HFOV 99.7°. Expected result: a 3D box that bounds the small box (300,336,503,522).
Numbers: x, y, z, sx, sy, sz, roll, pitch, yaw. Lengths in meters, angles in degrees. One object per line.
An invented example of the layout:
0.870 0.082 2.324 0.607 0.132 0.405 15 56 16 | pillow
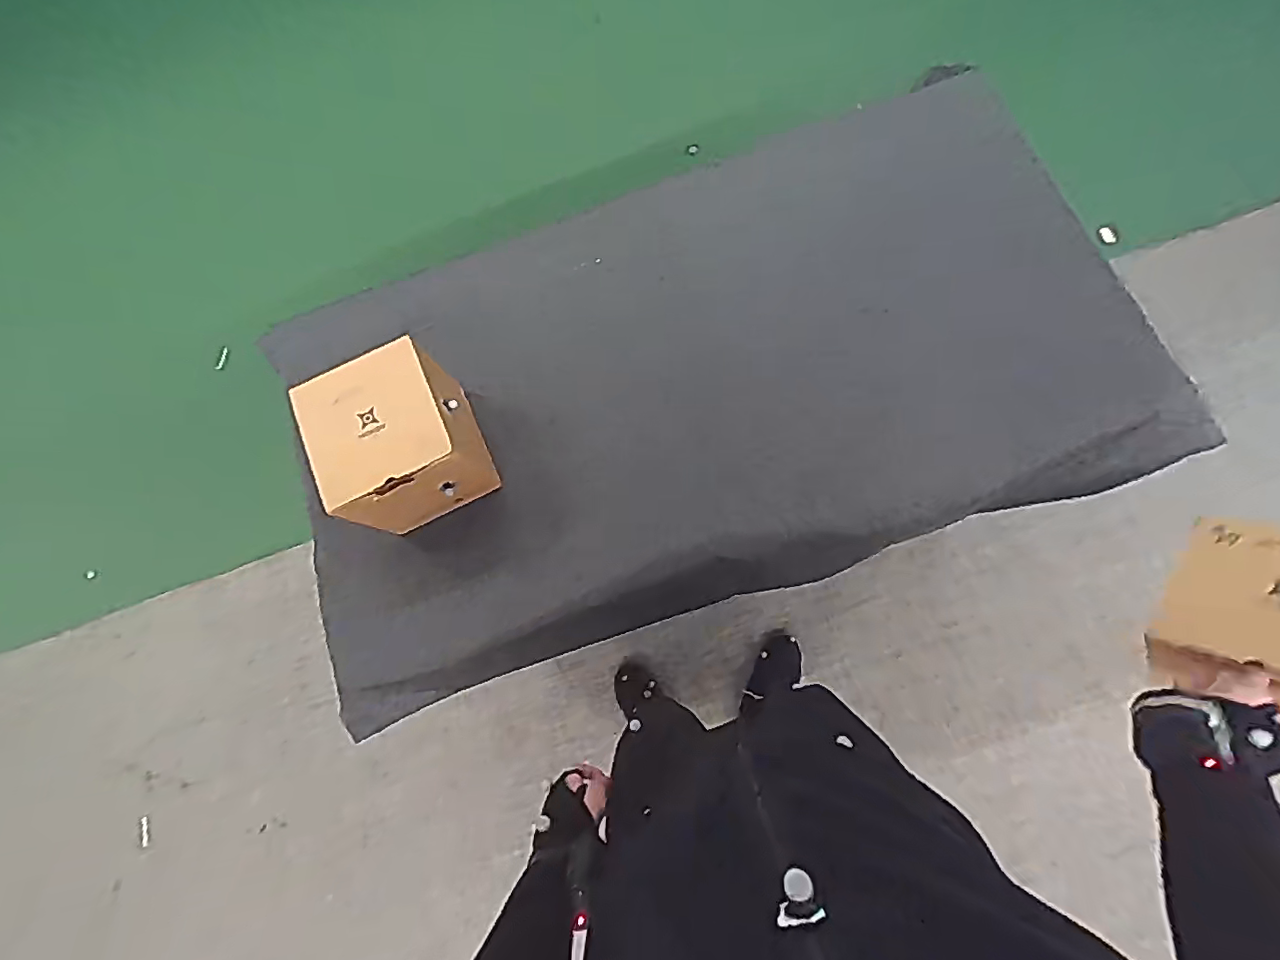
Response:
-0.308 -0.054 0.732 0.168 0.176 0.179 -26 74 -2 | small box
